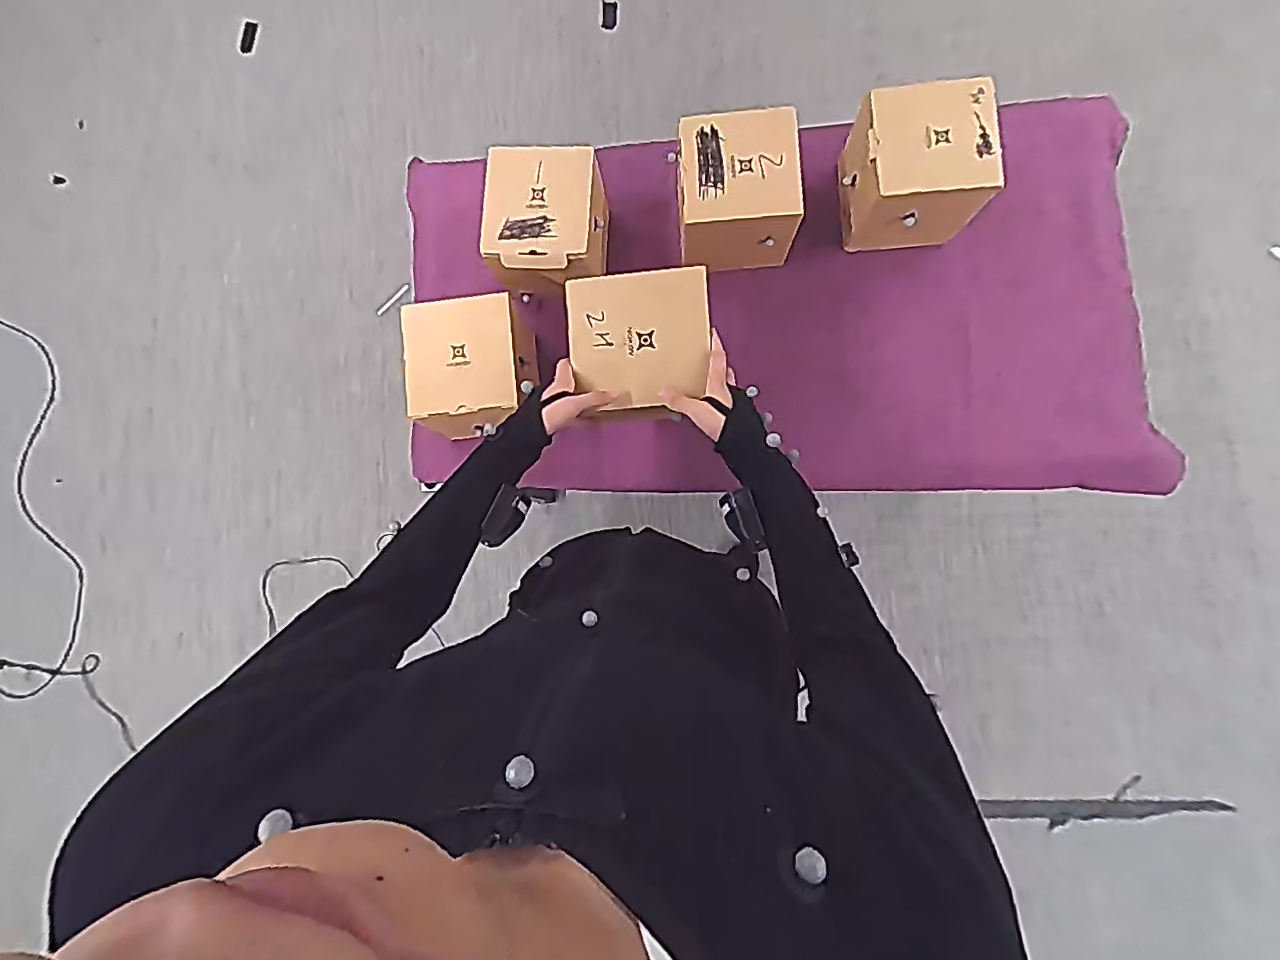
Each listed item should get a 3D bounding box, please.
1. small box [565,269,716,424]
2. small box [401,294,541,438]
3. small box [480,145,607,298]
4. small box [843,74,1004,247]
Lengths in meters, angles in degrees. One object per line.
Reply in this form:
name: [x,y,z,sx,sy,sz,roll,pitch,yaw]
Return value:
small box: [0.007,-0.168,0.731,0.179,0.176,0.168,-4,90,6]
small box: [-0.262,-0.174,0.870,0.168,0.176,0.179,-7,85,1]
small box: [-0.148,-0.409,0.885,0.168,0.176,0.179,3,85,4]
small box: [0.426,-0.483,0.845,0.179,0.176,0.168,-3,87,5]
